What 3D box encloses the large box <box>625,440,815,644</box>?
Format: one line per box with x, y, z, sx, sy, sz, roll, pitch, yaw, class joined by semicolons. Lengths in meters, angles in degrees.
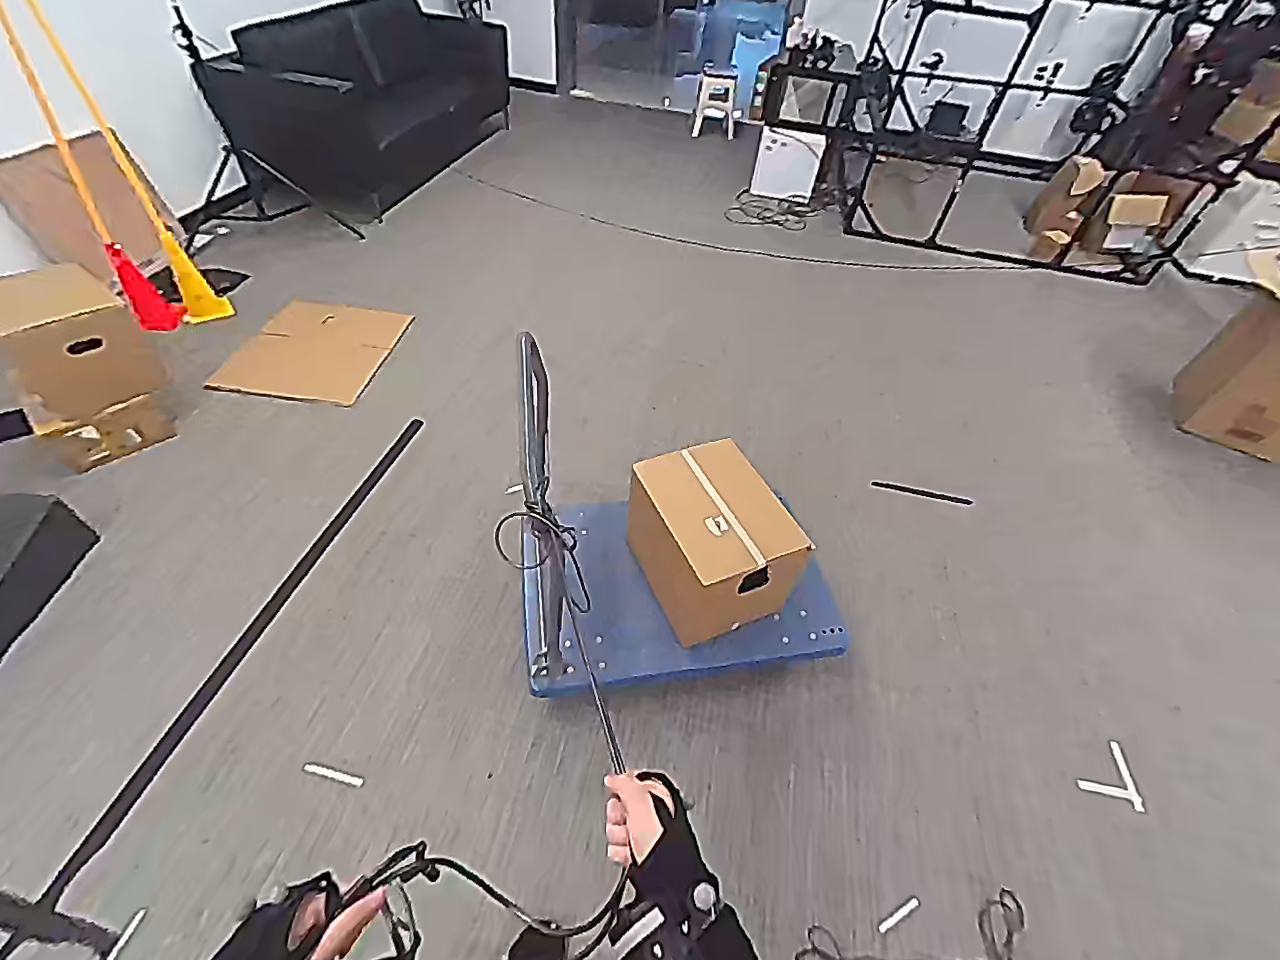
0.186;0.159;1.469;0.320;0.320;0.408;-16;53;-19;large box
